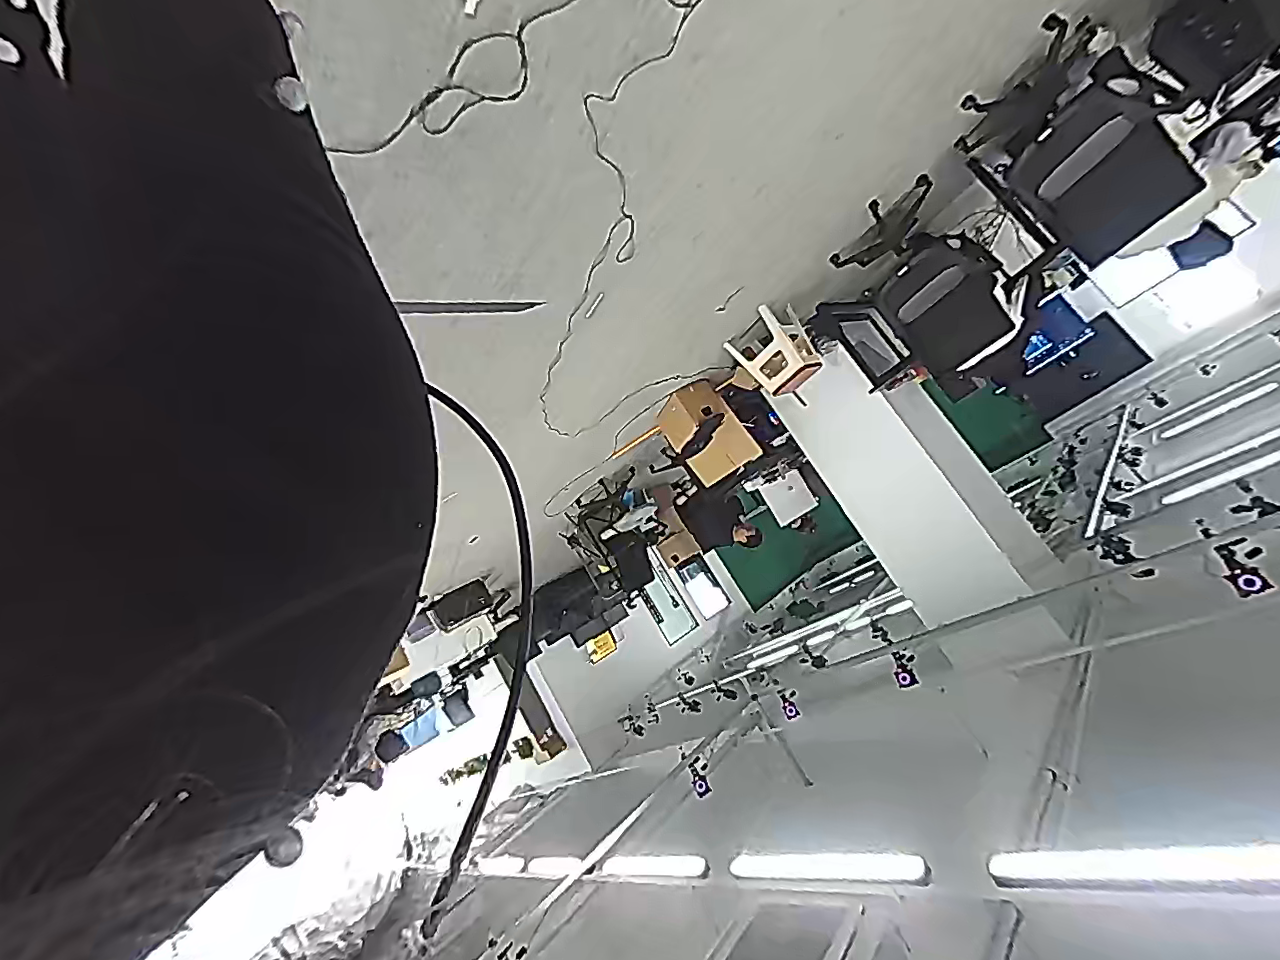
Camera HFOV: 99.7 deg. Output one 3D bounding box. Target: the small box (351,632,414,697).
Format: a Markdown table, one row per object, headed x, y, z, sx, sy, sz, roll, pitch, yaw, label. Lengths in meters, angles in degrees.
| x | y | z | sx | sy | sz | roll | pitch | yaw | label |
| --- | --- | --- | --- | --- | --- | --- | --- | --- | --- |
| -1.010 | 0.716 | 2.111 | 0.168 | 0.176 | 0.179 | -21 | 164 | -39 | small box |
